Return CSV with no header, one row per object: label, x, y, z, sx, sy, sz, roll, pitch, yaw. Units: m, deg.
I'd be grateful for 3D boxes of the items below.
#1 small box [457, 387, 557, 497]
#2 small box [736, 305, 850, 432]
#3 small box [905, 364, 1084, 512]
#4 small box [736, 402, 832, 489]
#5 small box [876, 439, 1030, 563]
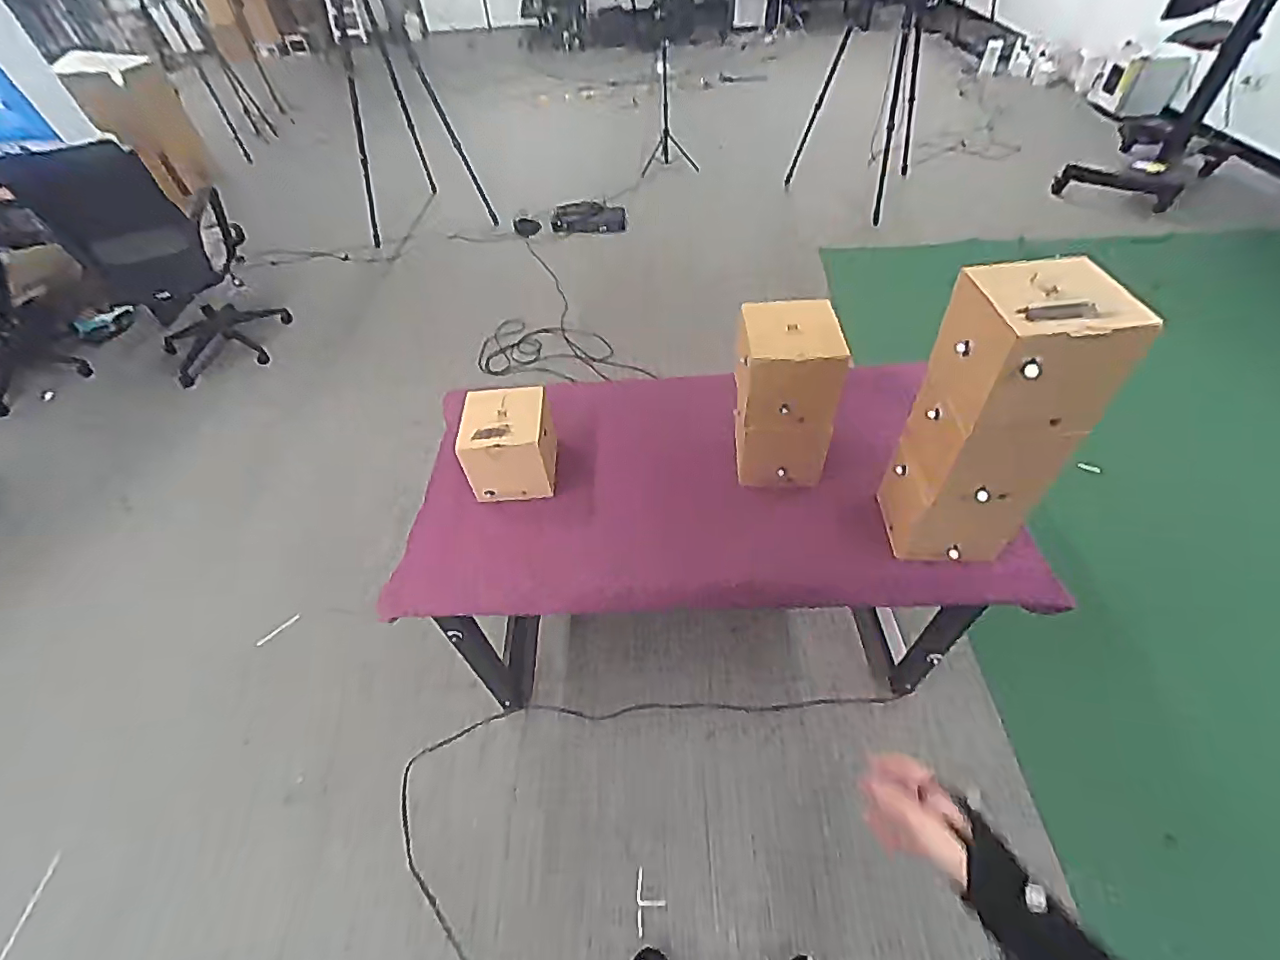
small box,-0.275,-0.076,1.163,0.168,0.176,0.179,-4,49,0
small box,0.277,-0.210,1.024,0.168,0.176,0.179,-2,50,3
small box,0.553,-0.068,0.878,0.168,0.176,0.179,-1,48,7
small box,0.293,-0.101,1.143,0.168,0.176,0.179,1,50,6
small box,0.562,0.041,0.999,0.179,0.176,0.168,1,48,5
